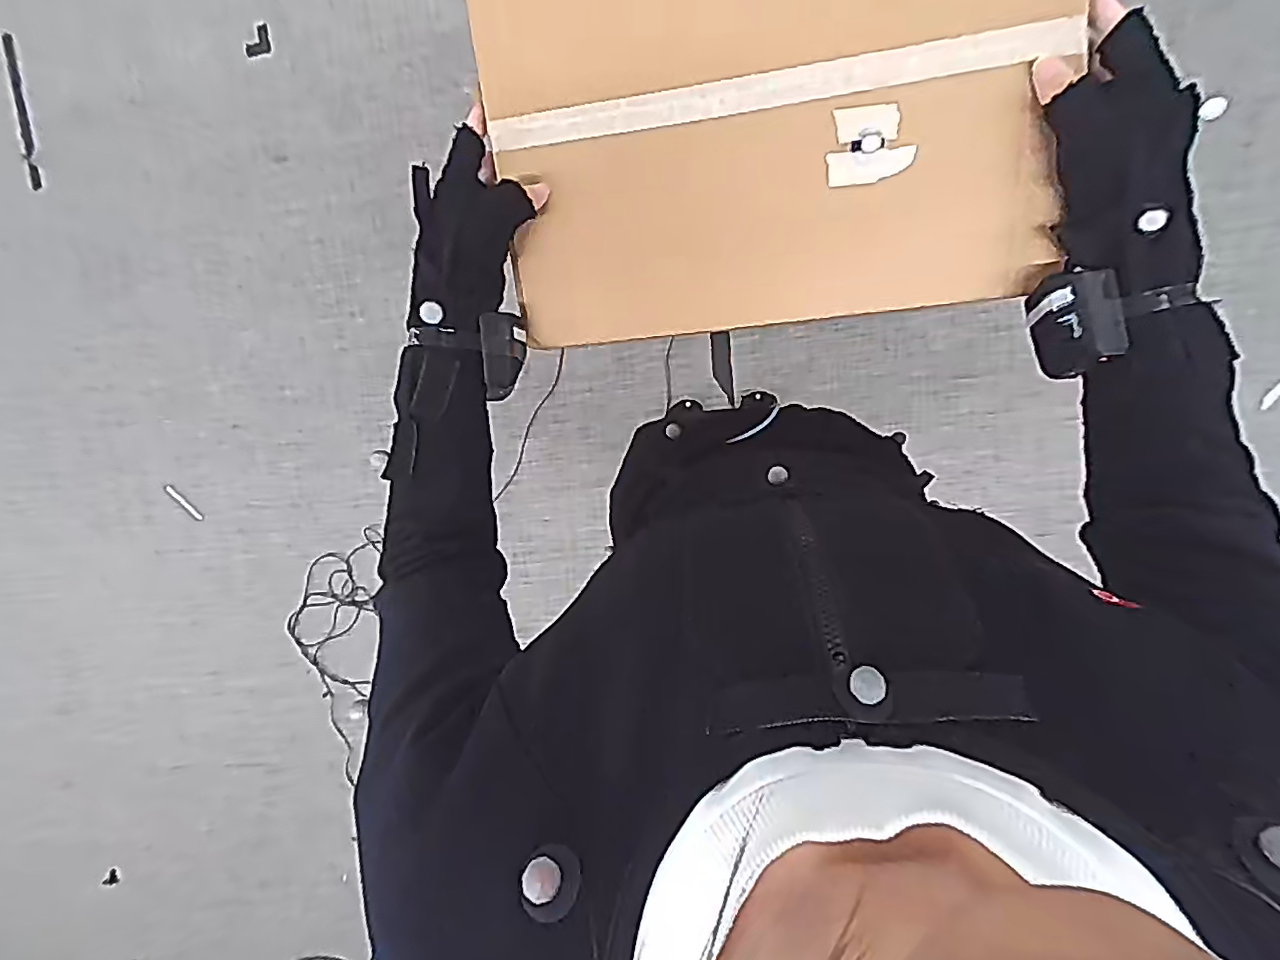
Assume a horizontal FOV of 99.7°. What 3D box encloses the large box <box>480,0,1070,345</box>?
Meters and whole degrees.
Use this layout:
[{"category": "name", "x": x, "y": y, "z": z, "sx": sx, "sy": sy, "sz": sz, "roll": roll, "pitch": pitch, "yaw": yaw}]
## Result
[{"category": "large box", "x": 0.105, "y": -0.320, "z": 0.532, "sx": 0.408, "sy": 0.320, "sz": 0.320, "roll": -5, "pitch": 107, "yaw": 8}]
